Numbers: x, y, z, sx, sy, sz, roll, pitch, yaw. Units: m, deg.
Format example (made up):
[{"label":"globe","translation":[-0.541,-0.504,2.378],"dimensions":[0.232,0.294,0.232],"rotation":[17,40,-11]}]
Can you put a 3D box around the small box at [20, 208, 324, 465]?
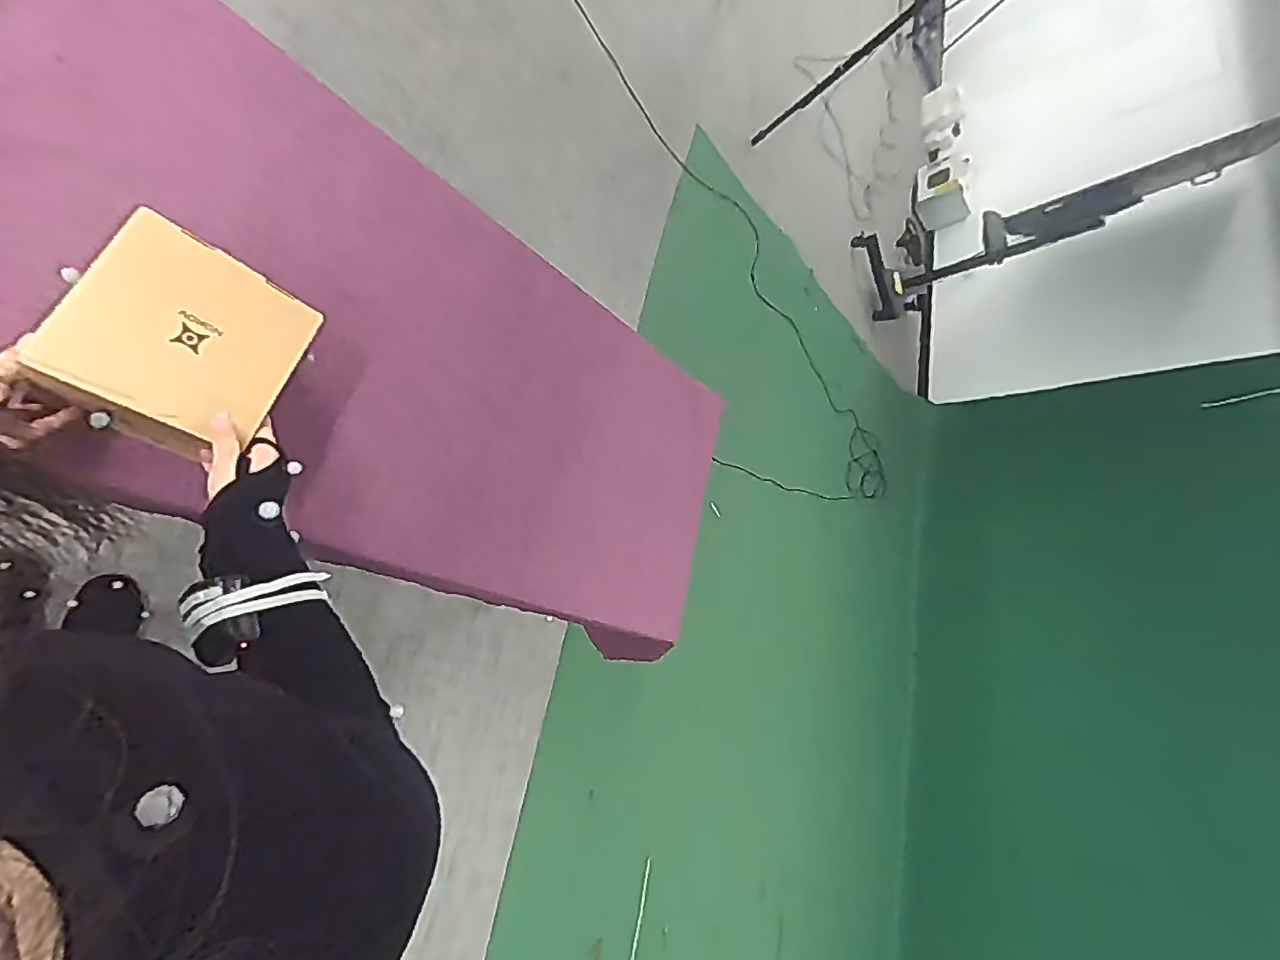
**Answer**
[{"label":"small box","translation":[-0.472,-0.130,0.565],"dimensions":[0.168,0.176,0.179],"rotation":[33,63,-37]}]
